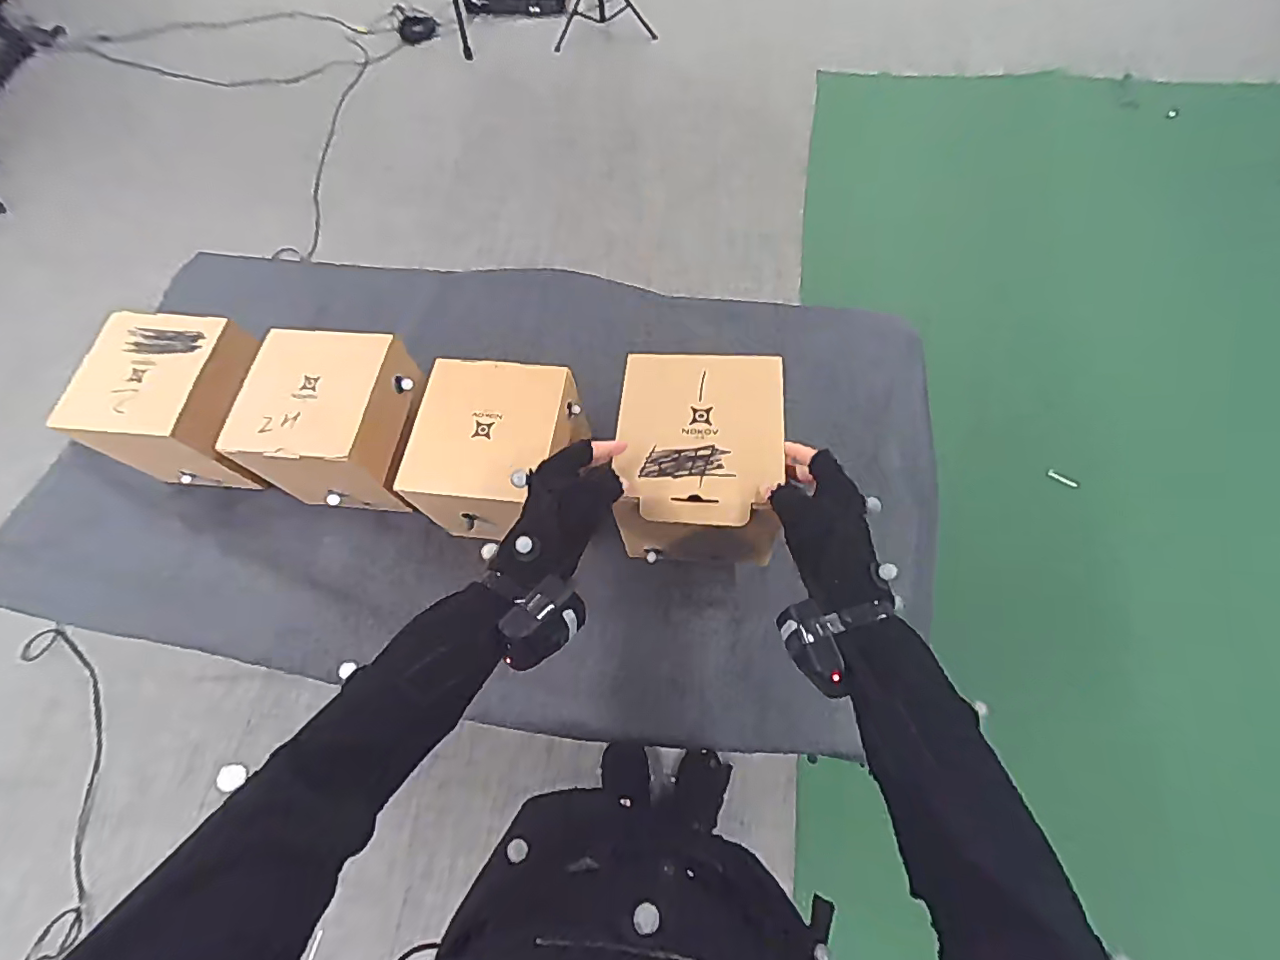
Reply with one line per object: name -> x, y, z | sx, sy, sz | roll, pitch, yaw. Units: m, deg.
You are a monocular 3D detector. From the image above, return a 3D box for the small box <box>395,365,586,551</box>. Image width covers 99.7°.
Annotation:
small box -> -0.170, -0.020, 0.681 | 0.168, 0.176, 0.179 | 5, 66, 6

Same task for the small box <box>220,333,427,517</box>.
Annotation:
small box -> -0.386, -0.068, 0.715 | 0.168, 0.176, 0.179 | 5, 66, 6

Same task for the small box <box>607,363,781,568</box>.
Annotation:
small box -> 0.066, -0.010, 0.610 | 0.168, 0.176, 0.179 | 3, 62, 7
